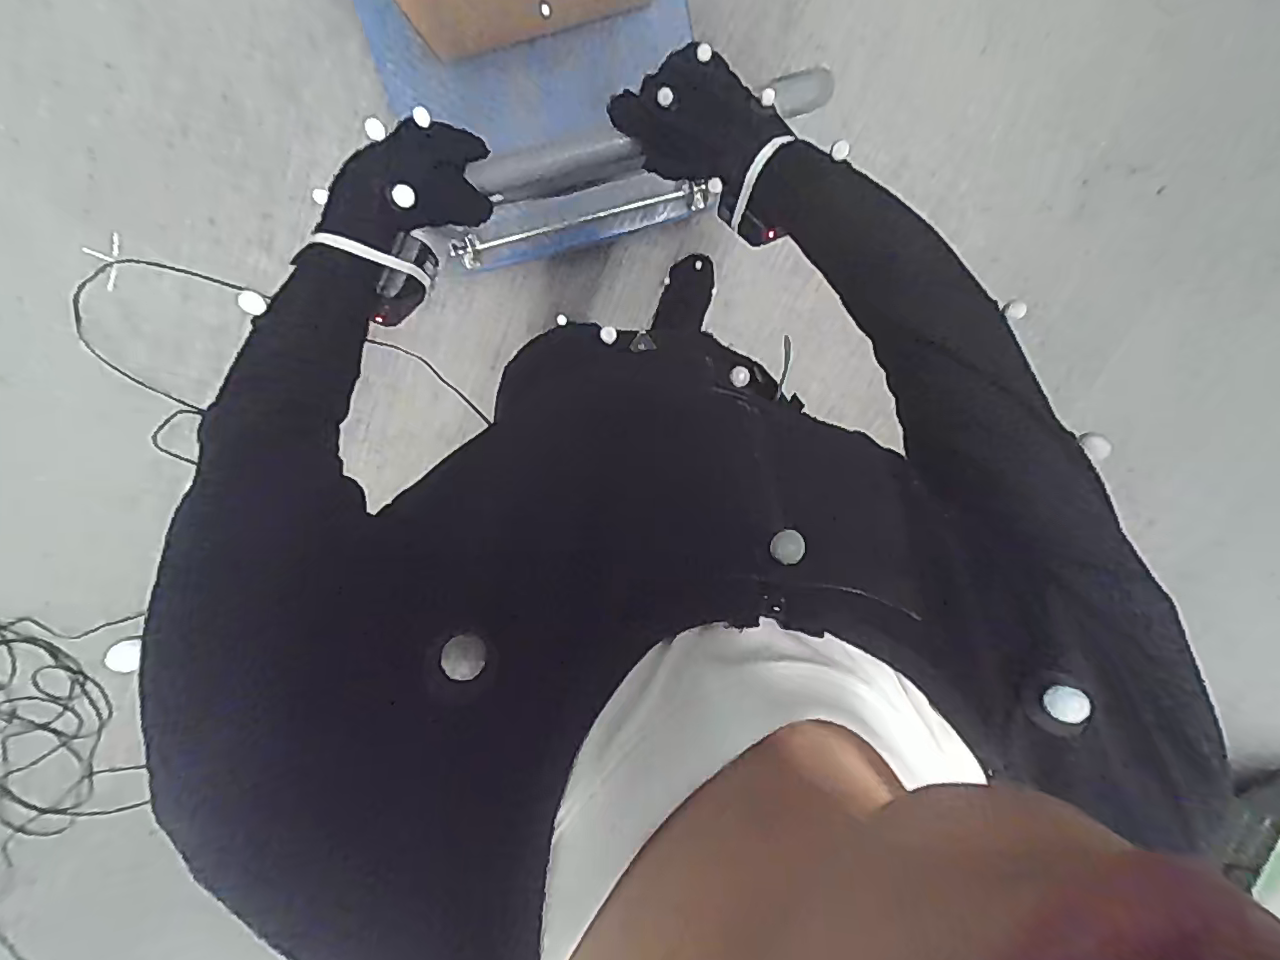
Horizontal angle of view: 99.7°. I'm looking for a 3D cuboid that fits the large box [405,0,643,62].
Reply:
[{"bbox_3d":[-0.184,-0.896,0.796,0.408,0.320,0.320,-16,113,2],"label":"large box"}]
